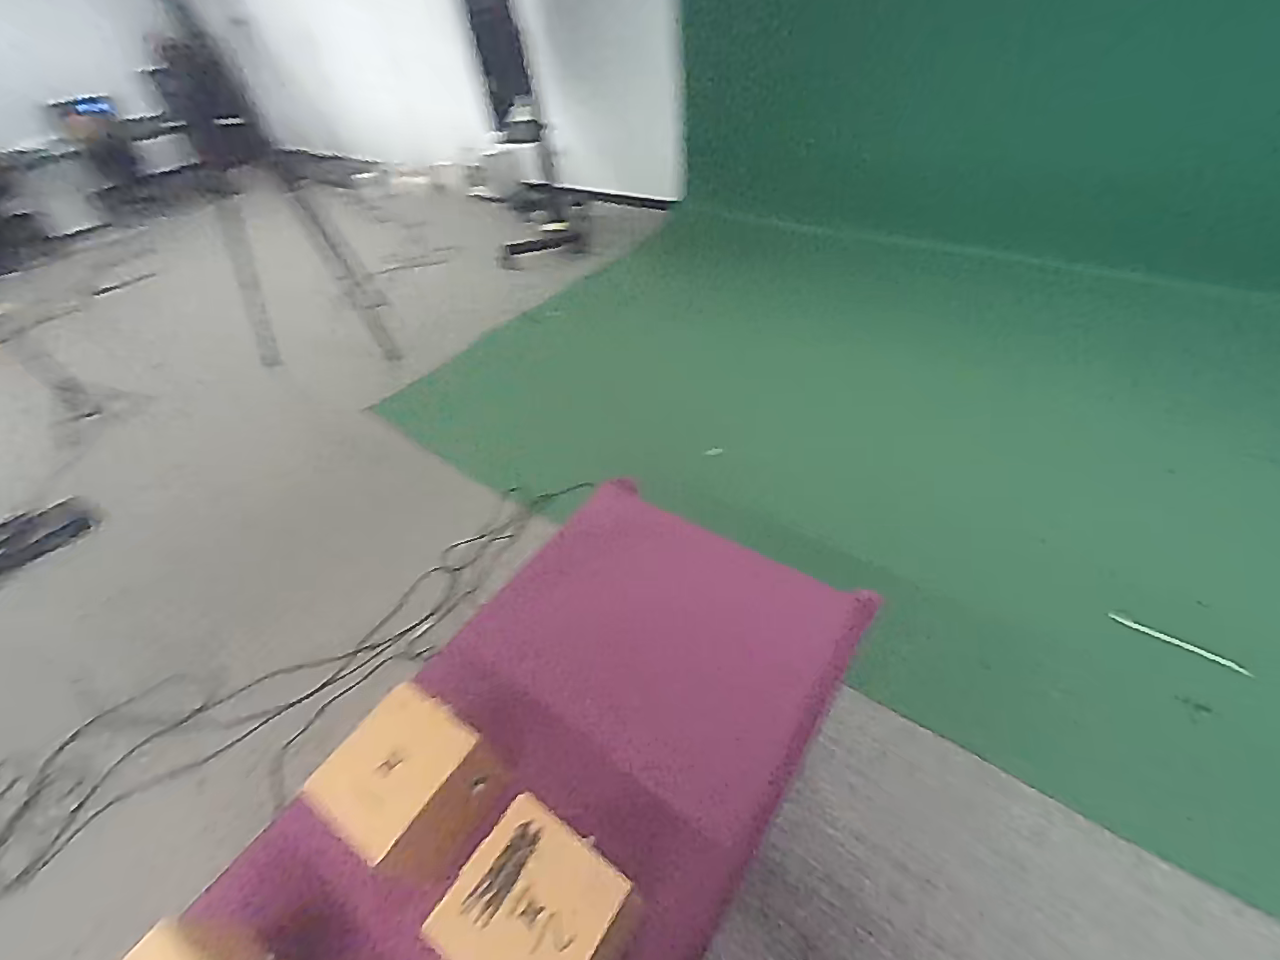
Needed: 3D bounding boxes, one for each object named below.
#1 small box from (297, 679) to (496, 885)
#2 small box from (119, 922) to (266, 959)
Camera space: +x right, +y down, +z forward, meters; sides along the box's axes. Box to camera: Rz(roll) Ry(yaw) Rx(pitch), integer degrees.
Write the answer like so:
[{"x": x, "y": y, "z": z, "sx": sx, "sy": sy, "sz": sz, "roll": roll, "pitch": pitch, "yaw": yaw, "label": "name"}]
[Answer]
[{"x": -0.329, "y": 0.430, "z": 0.774, "sx": 0.168, "sy": 0.176, "sz": 0.179, "roll": 22, "pitch": 53, "yaw": 27, "label": "small box"}, {"x": -0.520, "y": 0.641, "z": 0.591, "sx": 0.168, "sy": 0.176, "sz": 0.179, "roll": 21, "pitch": 52, "yaw": 26, "label": "small box"}]
